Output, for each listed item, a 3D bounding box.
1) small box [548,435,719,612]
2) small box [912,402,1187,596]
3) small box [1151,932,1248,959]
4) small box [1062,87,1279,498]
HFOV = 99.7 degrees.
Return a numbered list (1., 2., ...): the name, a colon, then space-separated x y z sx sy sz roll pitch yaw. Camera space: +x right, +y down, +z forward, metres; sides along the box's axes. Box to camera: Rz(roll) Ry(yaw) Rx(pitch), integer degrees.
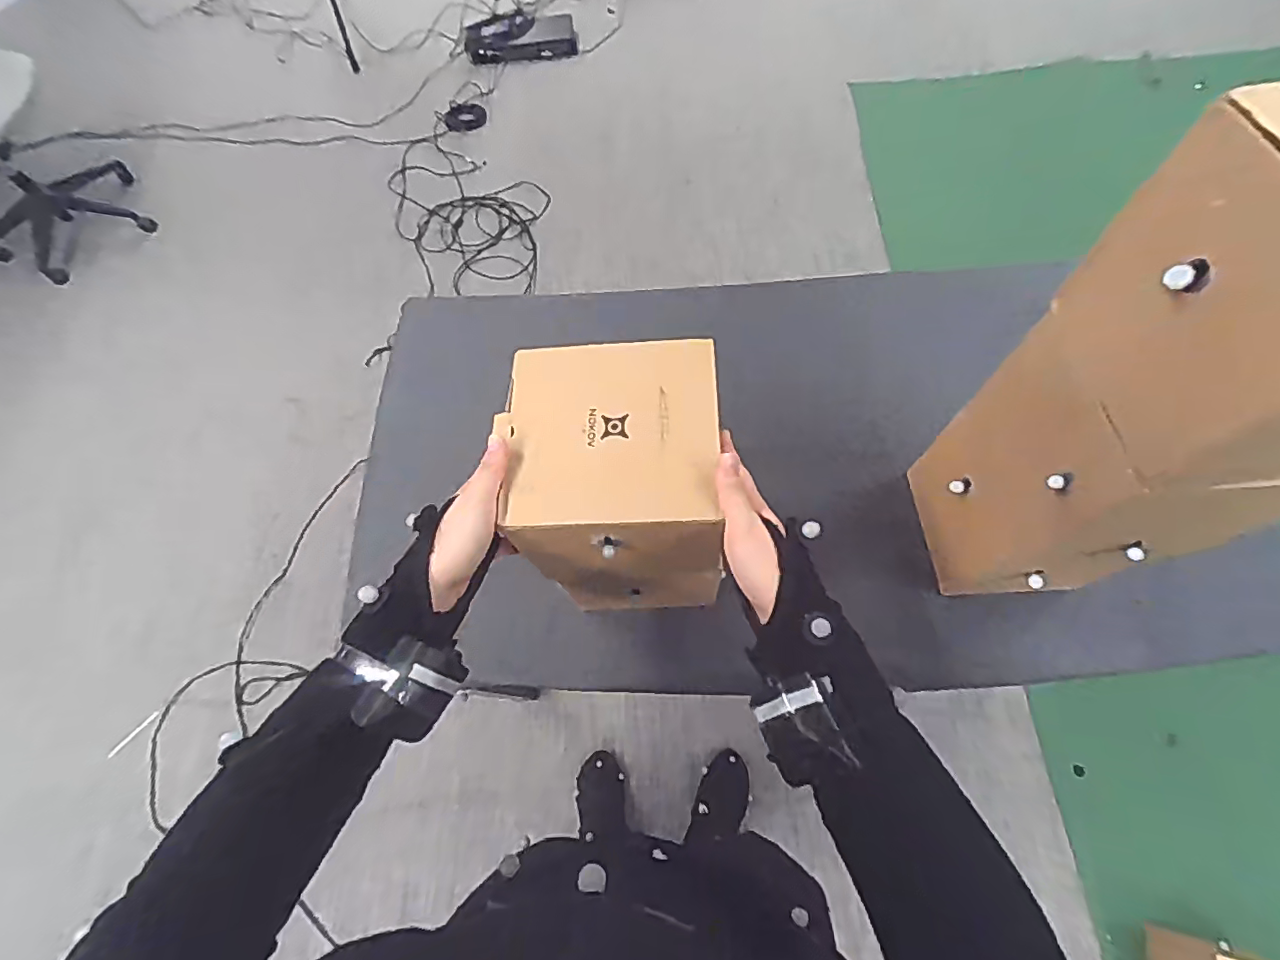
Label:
1. small box: -0.002 0.060 0.649 0.179 0.176 0.168 -3 65 4
2. small box: 0.442 0.033 0.623 0.168 0.176 0.179 -4 64 3
3. small box: 1.059 0.945 0.957 0.179 0.176 0.168 12 68 10
4. small box: 0.414 -0.108 0.328 0.168 0.176 0.179 -7 63 2
